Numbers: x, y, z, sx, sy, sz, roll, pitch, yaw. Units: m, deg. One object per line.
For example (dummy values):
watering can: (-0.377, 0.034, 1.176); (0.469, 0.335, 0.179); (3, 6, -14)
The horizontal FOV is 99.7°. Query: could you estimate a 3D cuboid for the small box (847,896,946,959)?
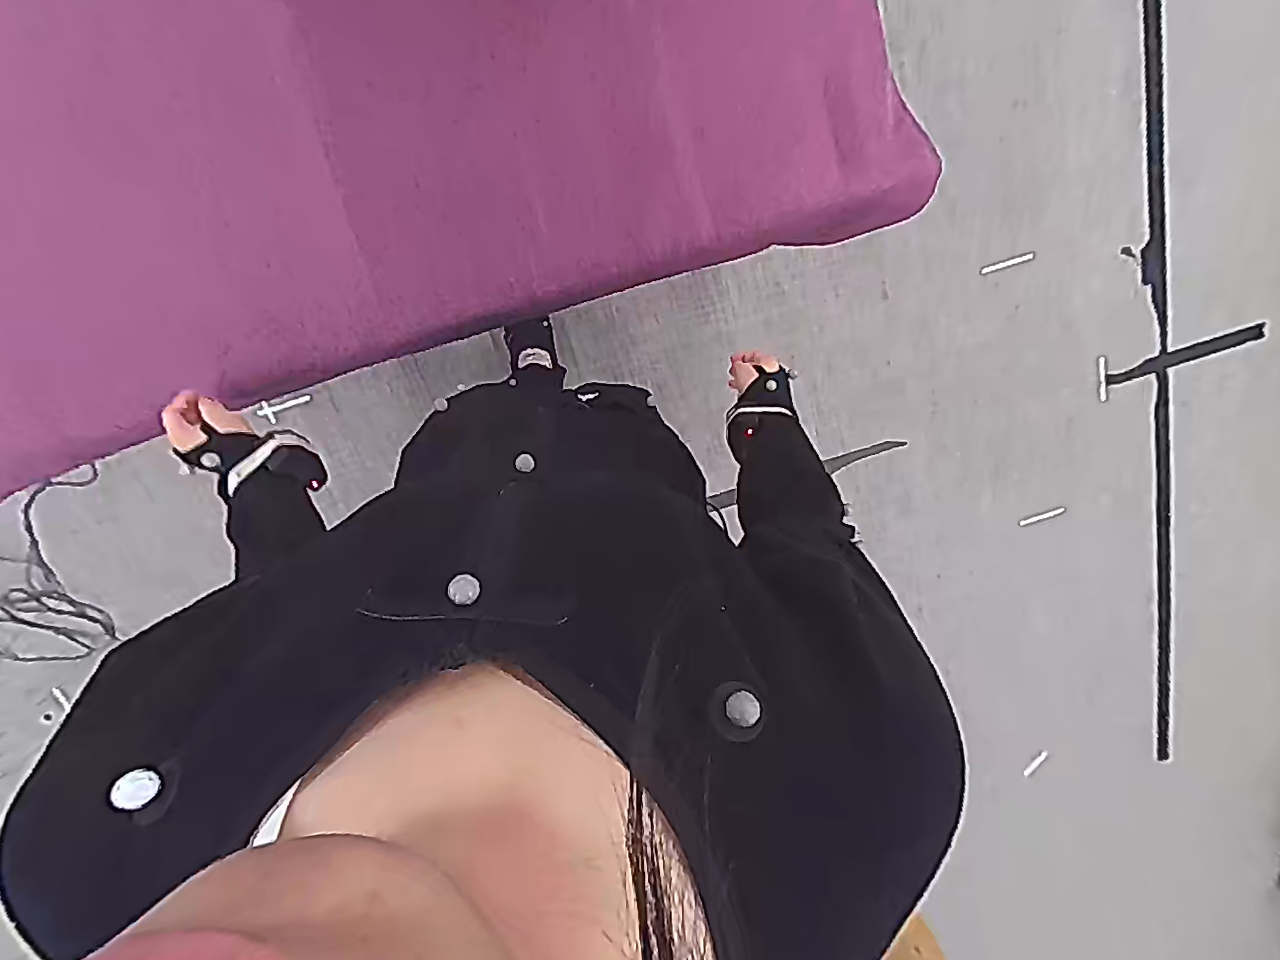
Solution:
small box: (0.739, 1.342, 1.548); (0.179, 0.176, 0.168); (30, 101, -15)
